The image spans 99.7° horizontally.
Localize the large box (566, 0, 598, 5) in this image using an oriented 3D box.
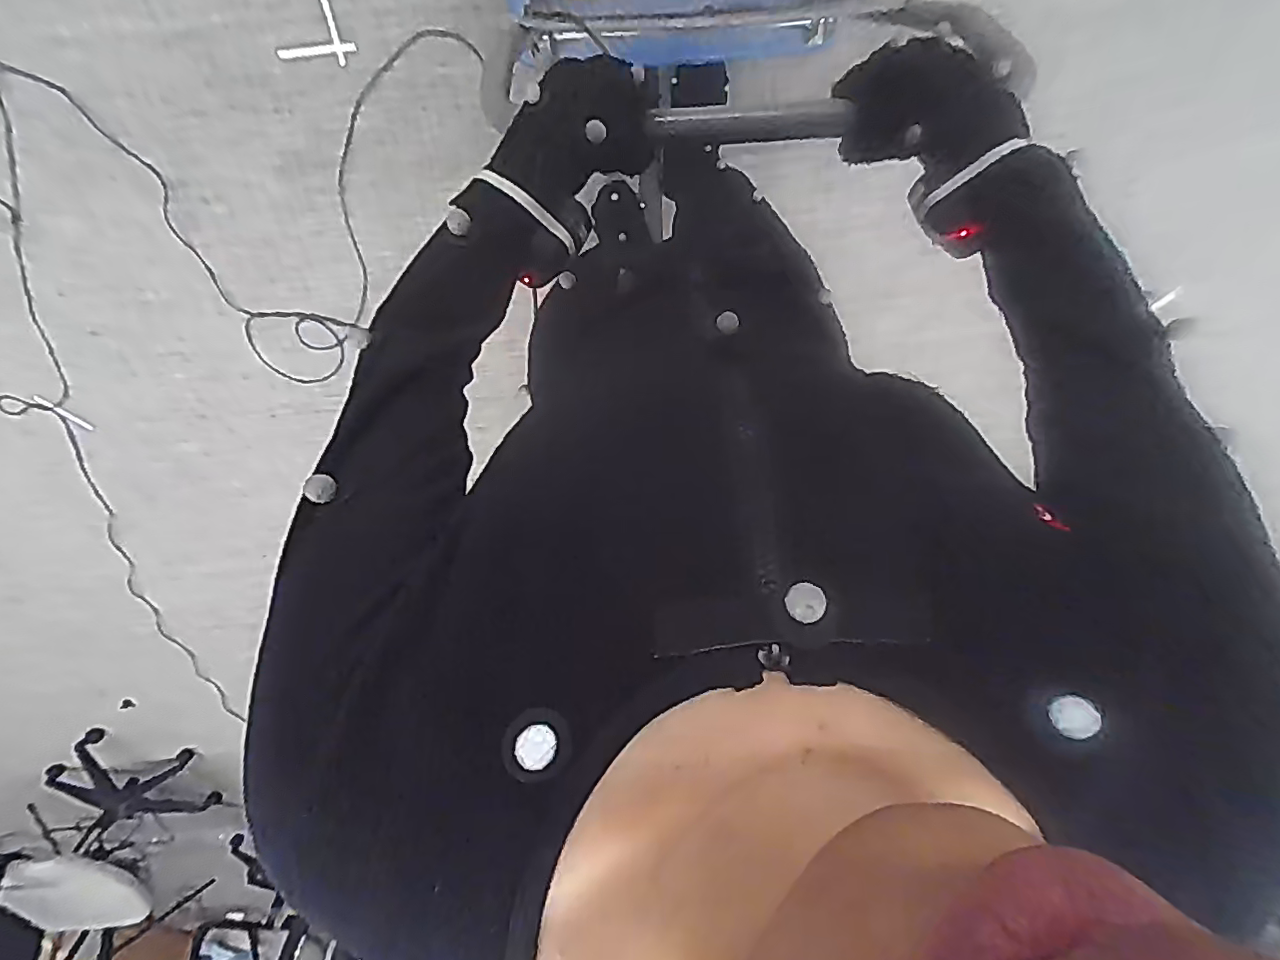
[{"bbox_3d":[0.053,-0.869,0.703,0.408,0.320,0.320,-10,130,3],"label":"large box"}]
